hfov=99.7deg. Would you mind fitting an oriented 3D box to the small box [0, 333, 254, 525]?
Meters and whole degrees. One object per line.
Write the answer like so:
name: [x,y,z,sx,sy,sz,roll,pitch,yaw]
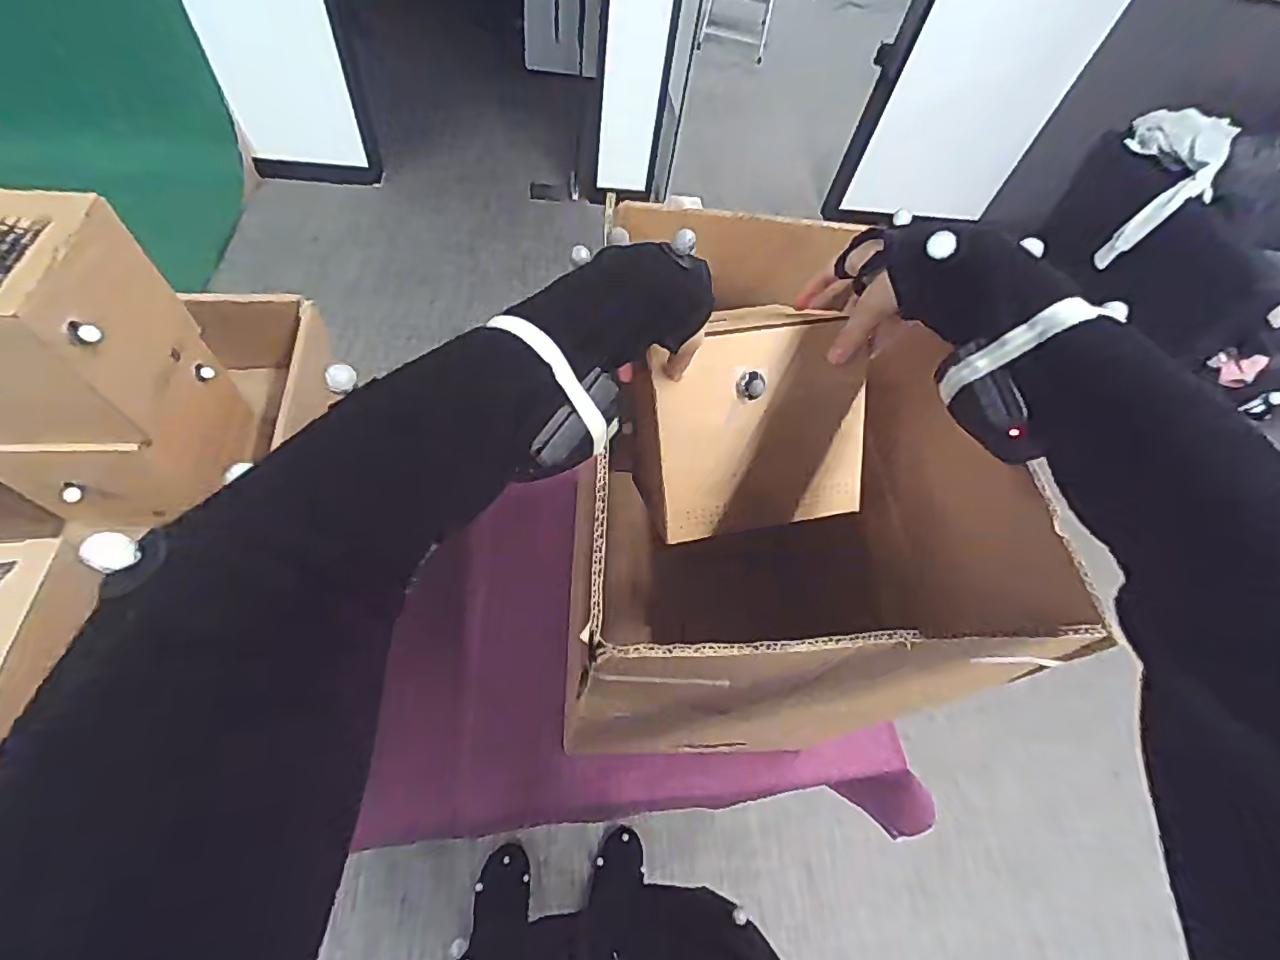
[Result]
small box: [-0.608,-0.054,0.653,0.168,0.176,0.179,-1,58,-8]
